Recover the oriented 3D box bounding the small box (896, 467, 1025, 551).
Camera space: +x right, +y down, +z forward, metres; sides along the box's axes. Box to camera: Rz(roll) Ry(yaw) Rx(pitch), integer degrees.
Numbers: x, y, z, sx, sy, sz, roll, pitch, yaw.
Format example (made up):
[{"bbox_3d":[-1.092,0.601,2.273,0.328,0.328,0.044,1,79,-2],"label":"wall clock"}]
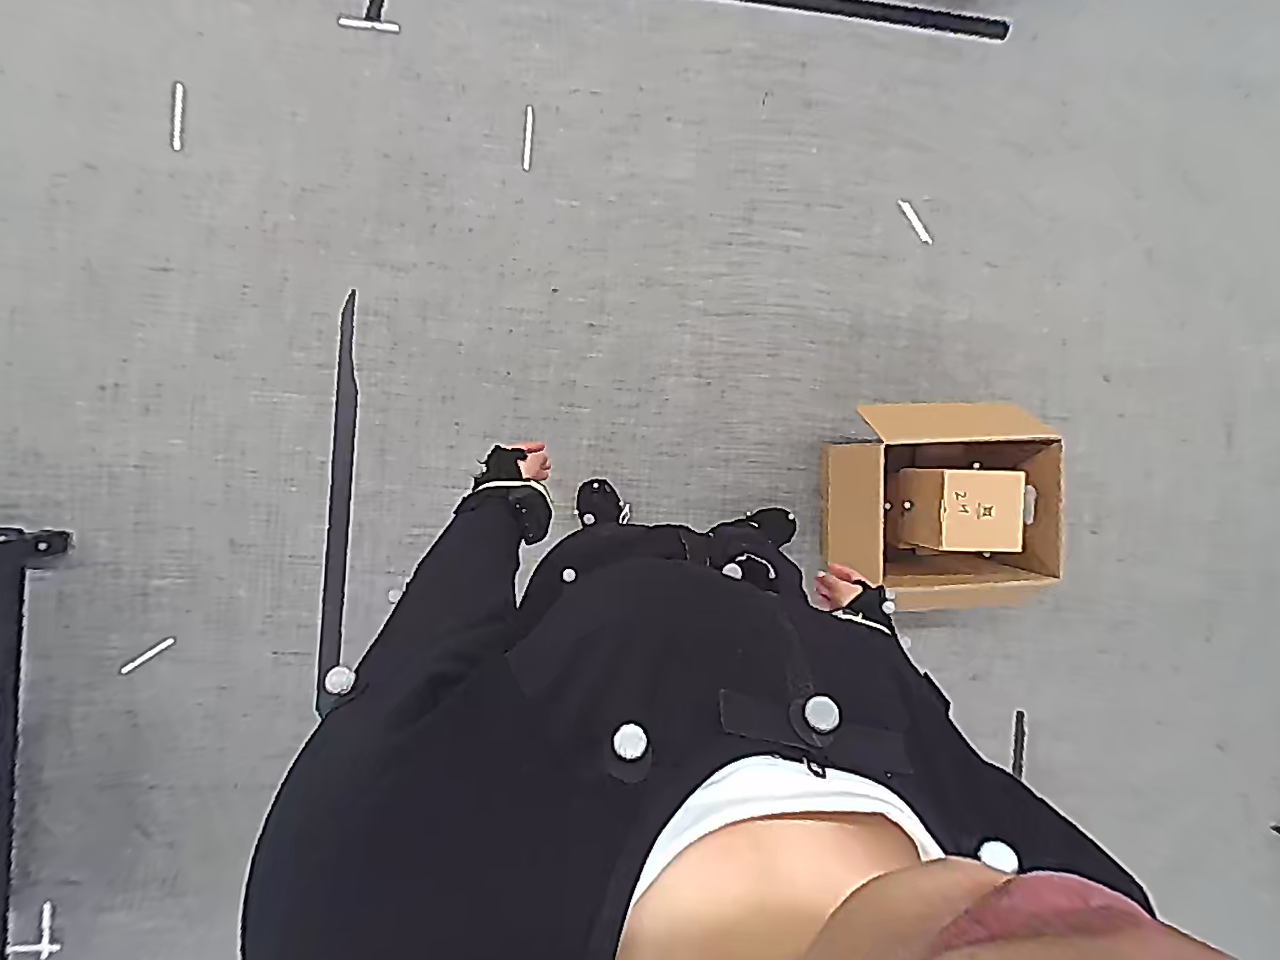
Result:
[{"bbox_3d":[0.690,0.058,1.176,0.179,0.176,0.168,2,91,-4],"label":"small box"}]
